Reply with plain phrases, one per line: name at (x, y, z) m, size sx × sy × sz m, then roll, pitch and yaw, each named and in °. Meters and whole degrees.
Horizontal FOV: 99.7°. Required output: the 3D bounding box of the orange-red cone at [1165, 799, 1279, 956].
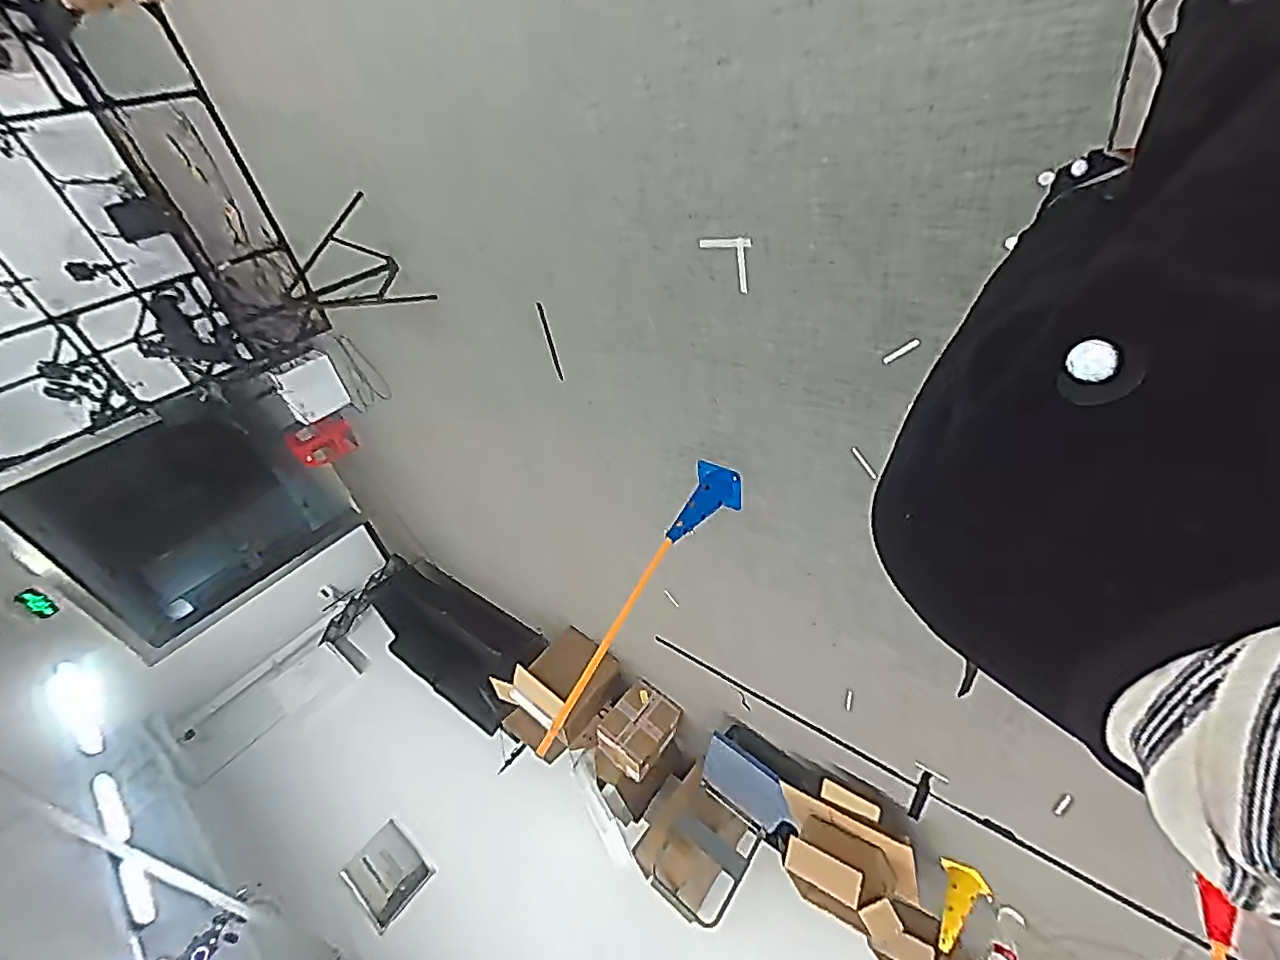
orange-red cone at (1.629, 1.142, 1.522) m, size 0.198 × 0.360 × 0.199 m, roll 23°, pitch 140°, yaw 33°

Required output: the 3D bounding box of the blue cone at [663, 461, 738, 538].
blue cone at (0.213, 0.108, 2.103) m, size 0.193 × 0.380 × 0.192 m, roll 23°, pitch 139°, yaw 32°
